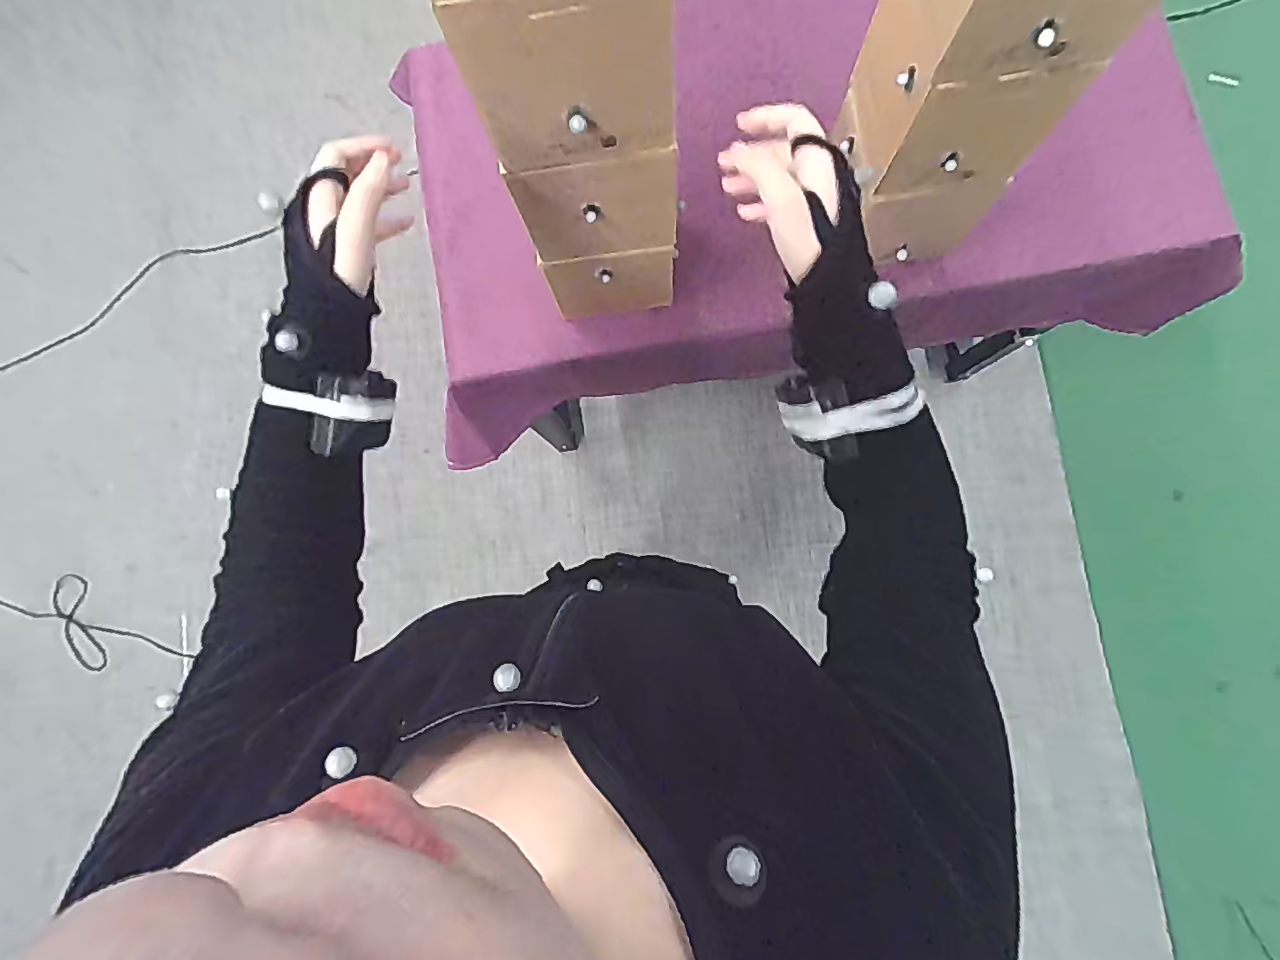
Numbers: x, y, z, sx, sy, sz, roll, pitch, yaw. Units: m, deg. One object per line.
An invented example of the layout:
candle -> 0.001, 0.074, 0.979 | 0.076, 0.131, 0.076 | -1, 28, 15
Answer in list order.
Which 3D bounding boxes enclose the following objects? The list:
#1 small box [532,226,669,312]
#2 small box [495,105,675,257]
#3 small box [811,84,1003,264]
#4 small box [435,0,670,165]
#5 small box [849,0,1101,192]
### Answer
small box -> -0.053, -0.357, 0.778 | 0.179, 0.176, 0.168 | -6, 83, 2
small box -> -0.057, -0.380, 0.615 | 0.179, 0.176, 0.168 | -8, 83, 3
small box -> 0.361, -0.430, 0.763 | 0.179, 0.176, 0.168 | -7, 82, 2
small box -> -0.067, -0.407, 0.453 | 0.168, 0.176, 0.179 | -8, 83, 3
small box -> 0.349, -0.461, 0.603 | 0.168, 0.176, 0.179 | -7, 83, 3
